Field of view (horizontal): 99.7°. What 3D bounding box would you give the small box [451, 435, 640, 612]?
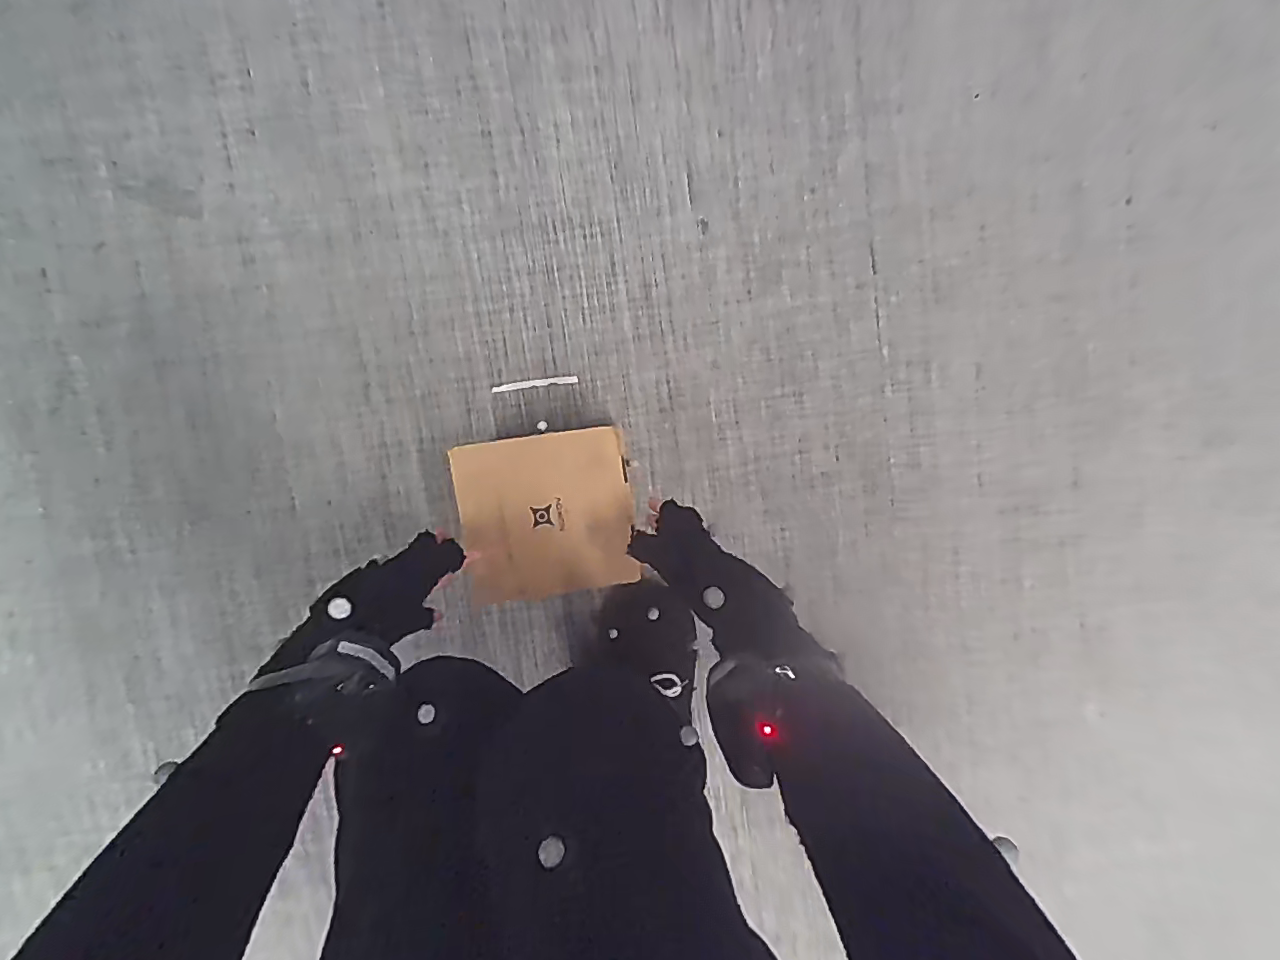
[{"bbox_3d":[-0.098,0.038,0.636,0.179,0.176,0.168,-8,95,0],"label":"small box"}]
